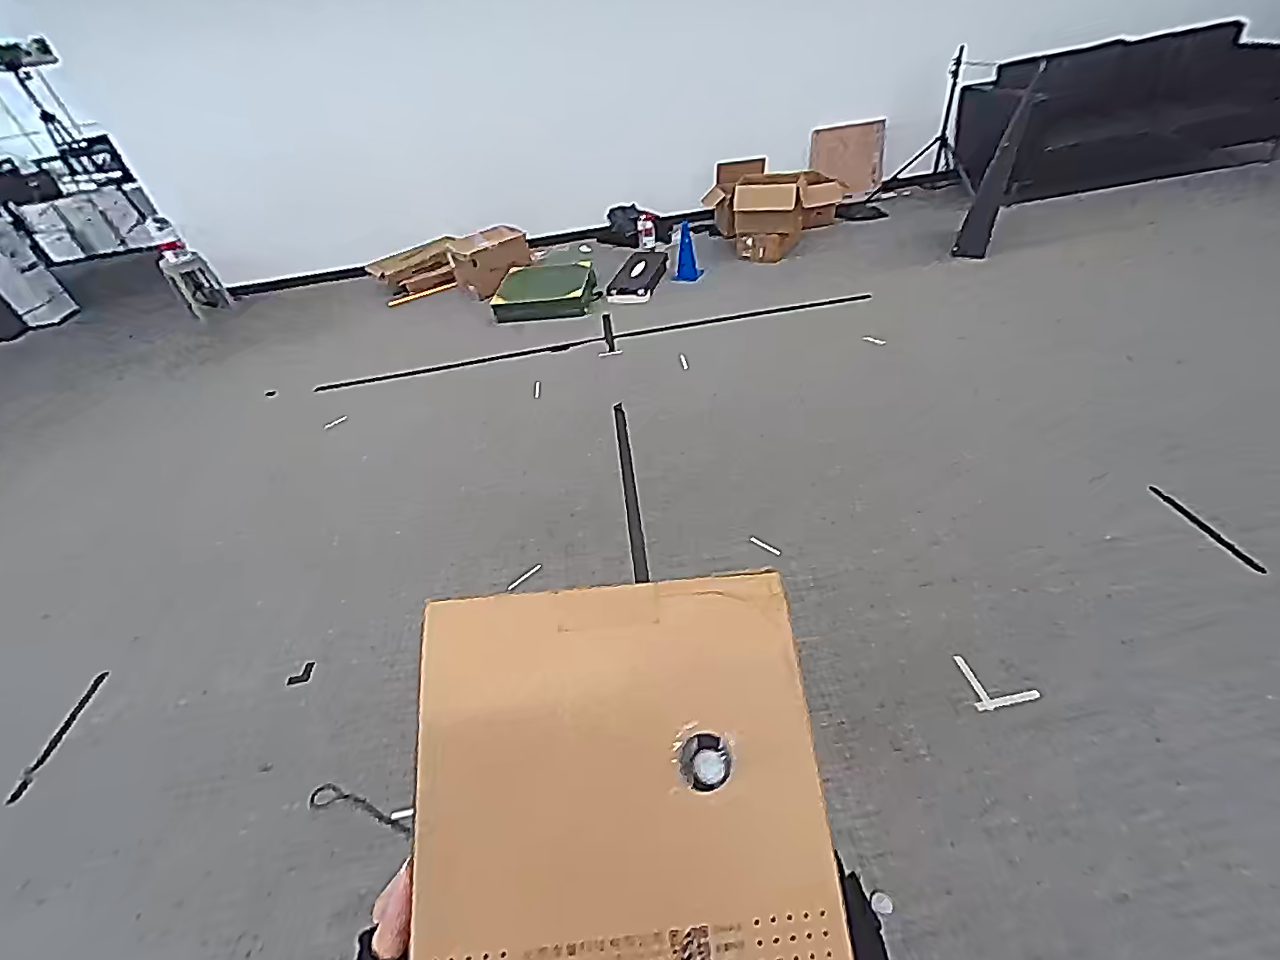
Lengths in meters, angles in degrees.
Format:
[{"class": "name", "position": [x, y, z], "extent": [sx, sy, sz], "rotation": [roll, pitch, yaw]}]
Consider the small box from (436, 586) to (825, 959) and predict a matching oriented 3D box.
[{"class": "small box", "position": [-0.009, 0.165, 0.316], "extent": [0.168, 0.179, 0.176], "rotation": [-4, 70, -3]}]
